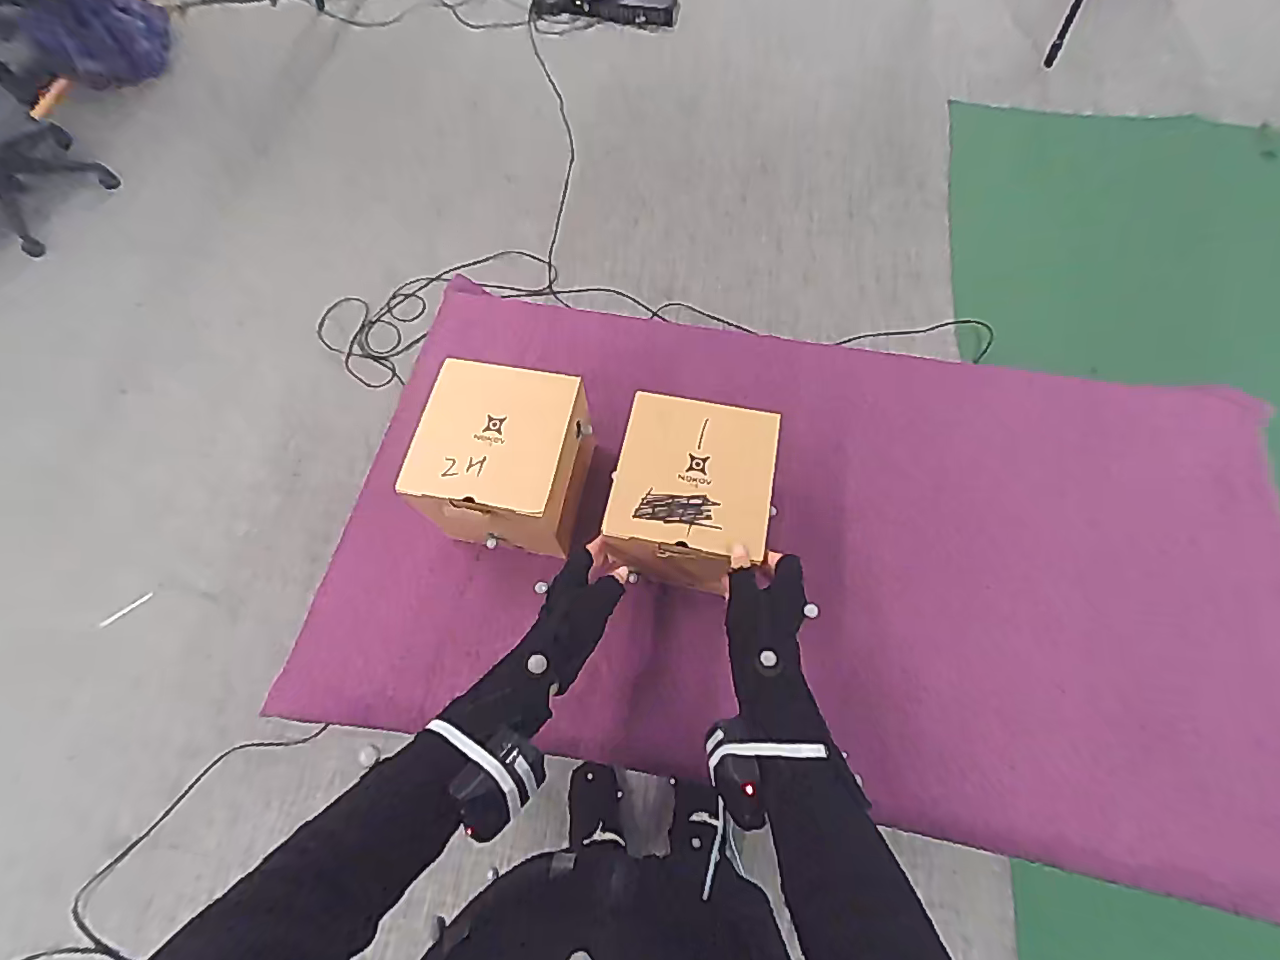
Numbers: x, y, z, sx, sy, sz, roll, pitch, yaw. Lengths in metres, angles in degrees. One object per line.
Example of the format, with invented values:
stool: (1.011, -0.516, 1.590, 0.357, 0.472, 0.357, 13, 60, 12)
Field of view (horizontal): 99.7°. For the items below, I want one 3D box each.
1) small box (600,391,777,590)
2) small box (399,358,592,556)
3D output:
small box: (0.059, 0.022, 0.650, 0.168, 0.176, 0.179, 10, 66, 6)
small box: (-0.161, -0.022, 0.674, 0.168, 0.176, 0.179, 9, 67, 6)
